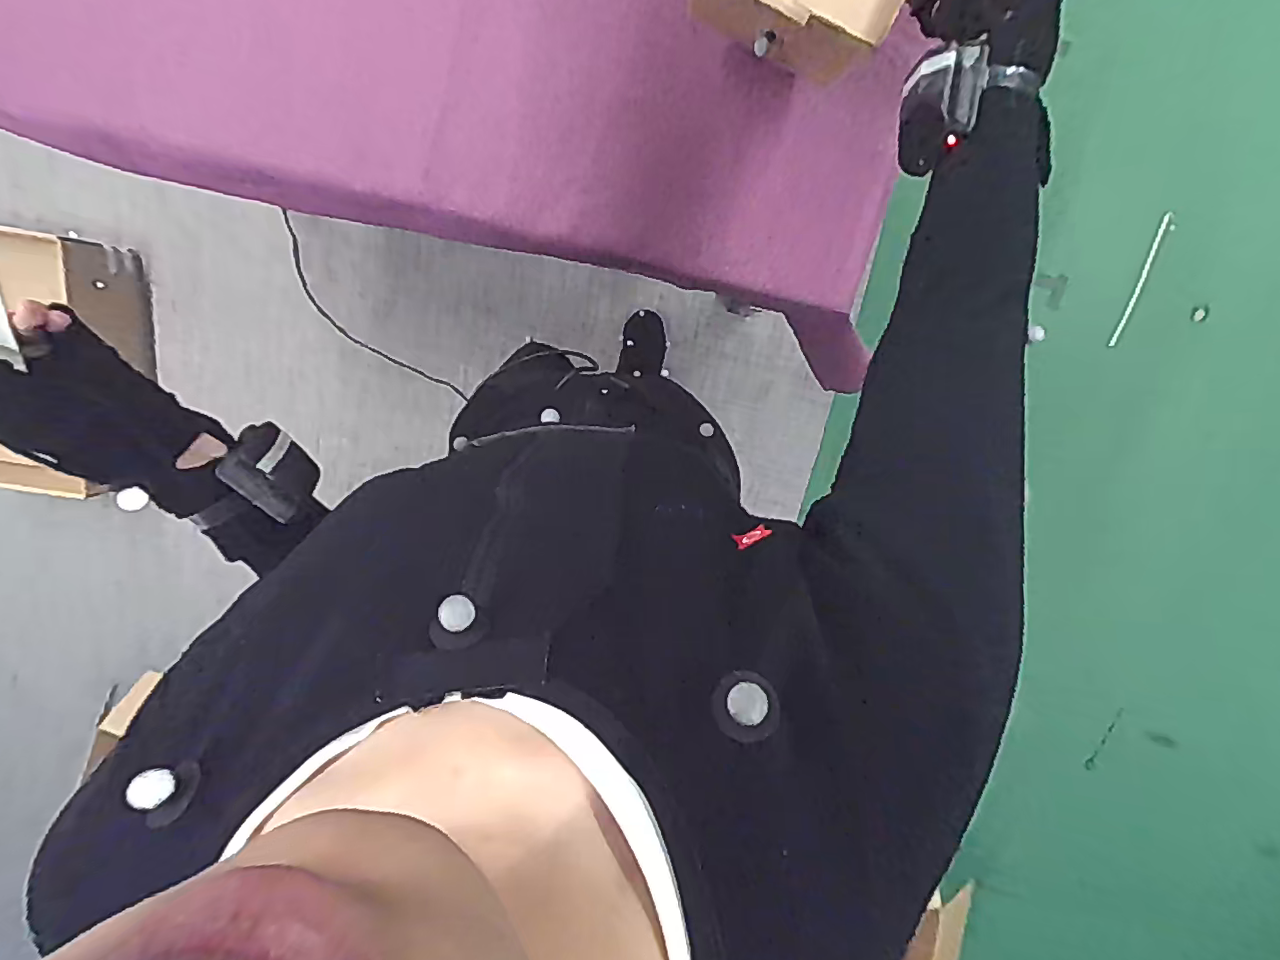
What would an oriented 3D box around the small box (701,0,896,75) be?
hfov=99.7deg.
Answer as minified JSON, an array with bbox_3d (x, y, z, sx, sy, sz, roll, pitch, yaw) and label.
[{"bbox_3d":[0.151,-0.477,0.449,0.168,0.176,0.179,23,118,-7],"label":"small box"}]
